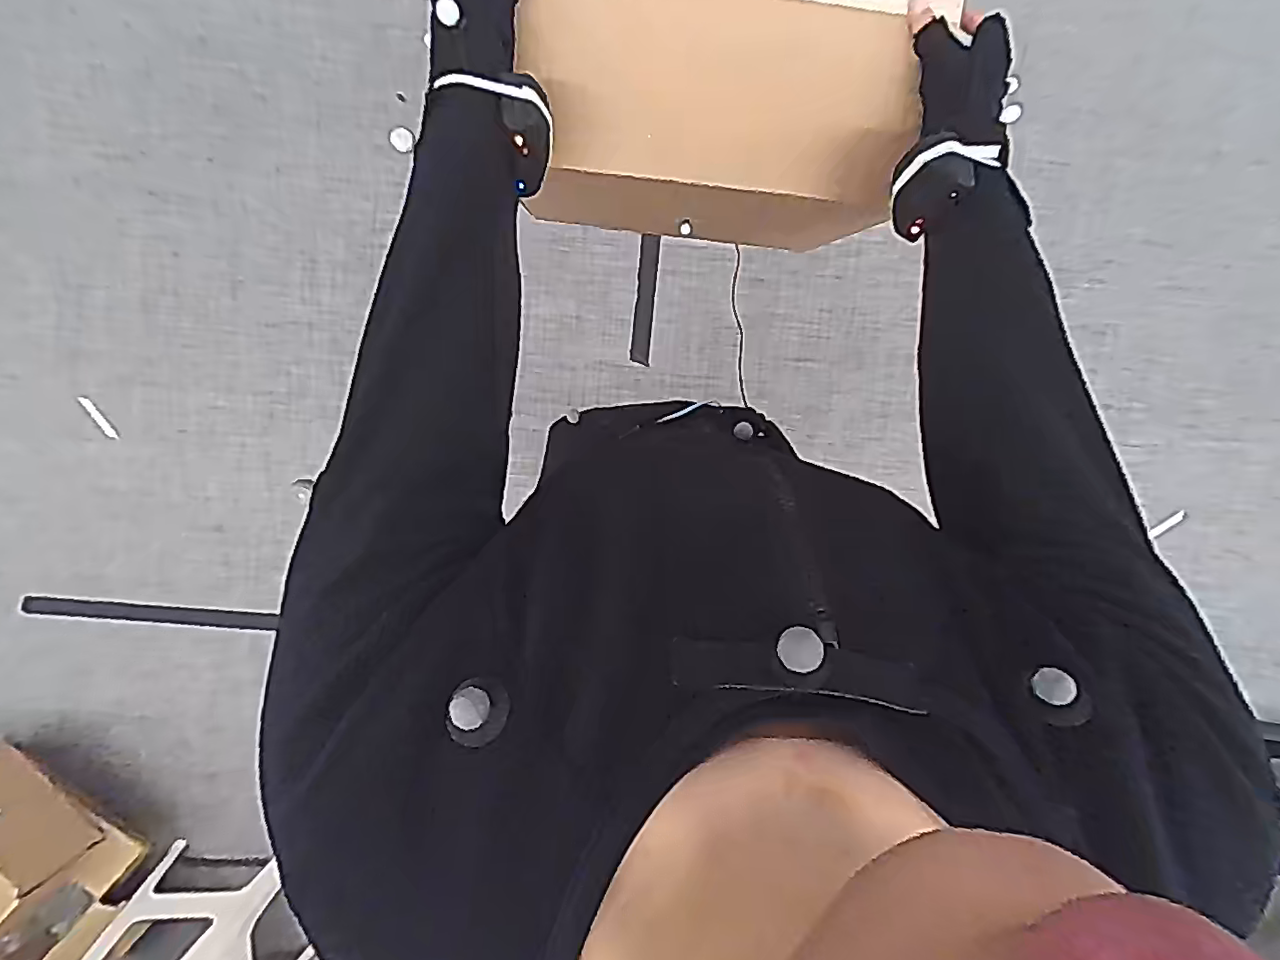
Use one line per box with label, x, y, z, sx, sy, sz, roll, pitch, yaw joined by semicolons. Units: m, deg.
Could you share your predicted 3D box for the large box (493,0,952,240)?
large box;0.072;-0.469;0.607;0.408;0.320;0.320;5;105;-4
